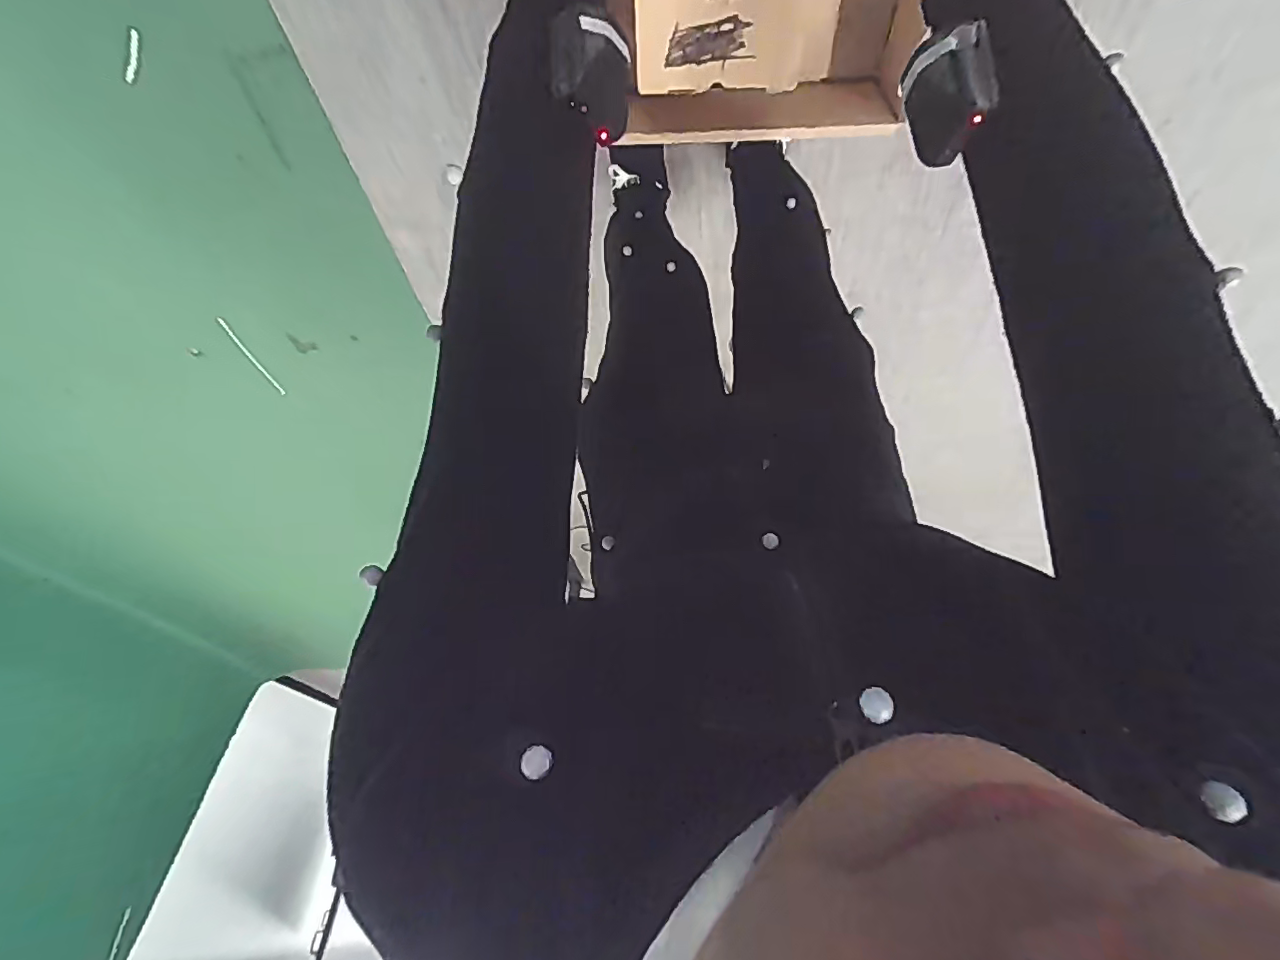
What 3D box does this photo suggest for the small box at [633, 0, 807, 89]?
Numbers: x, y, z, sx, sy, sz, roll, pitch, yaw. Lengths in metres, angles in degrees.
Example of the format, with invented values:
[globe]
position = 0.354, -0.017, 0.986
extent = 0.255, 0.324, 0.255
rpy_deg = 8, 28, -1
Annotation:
[small box]
position = 0.080, -0.524, 0.541
extent = 0.168, 0.176, 0.179
rpy_deg = 1, 142, 4
